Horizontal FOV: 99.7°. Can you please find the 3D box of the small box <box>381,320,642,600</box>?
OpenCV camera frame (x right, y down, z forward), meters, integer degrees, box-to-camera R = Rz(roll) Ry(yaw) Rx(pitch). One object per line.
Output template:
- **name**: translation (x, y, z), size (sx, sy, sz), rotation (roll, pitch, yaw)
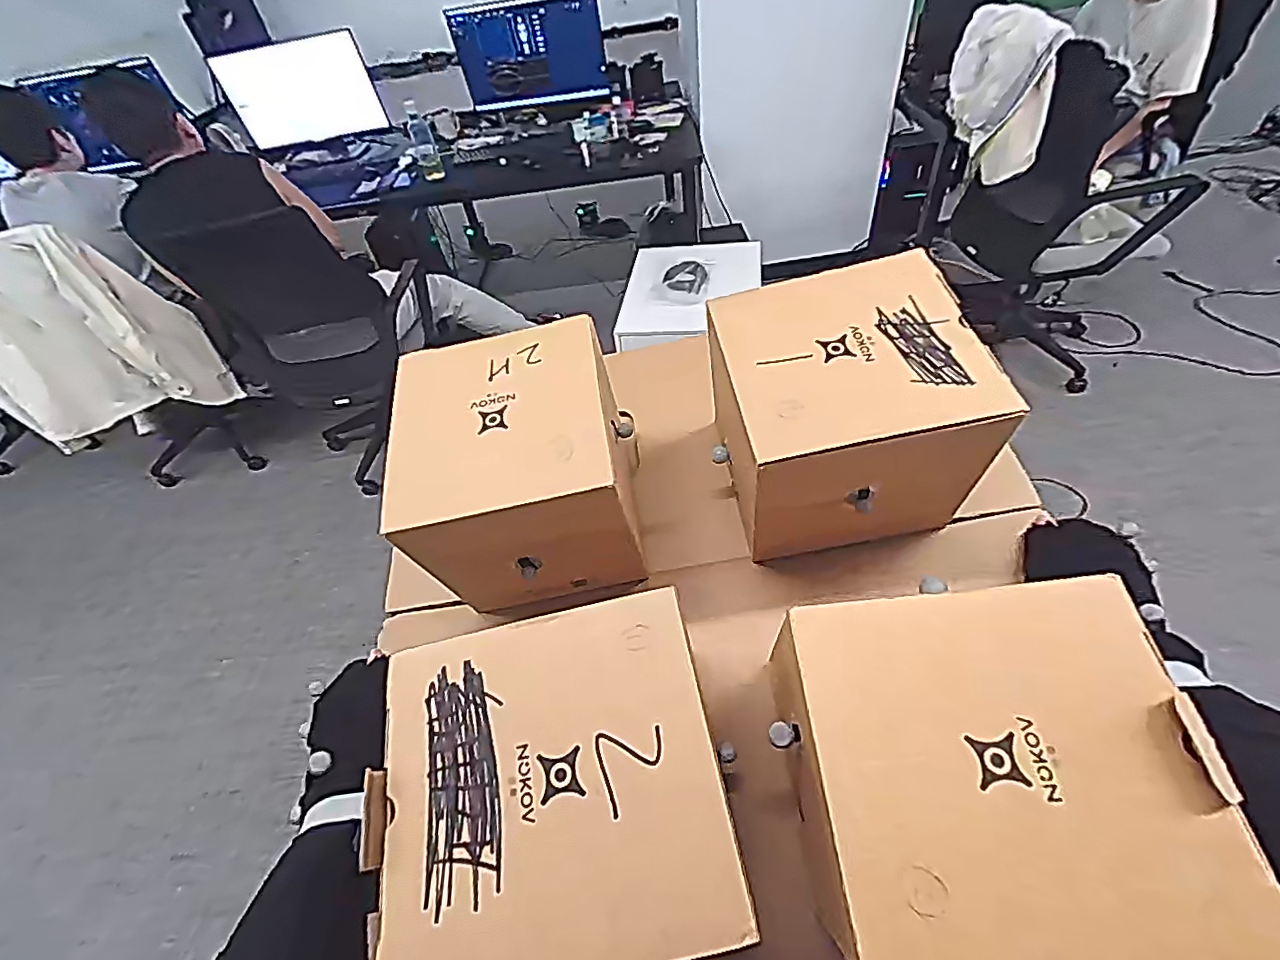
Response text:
- **small box**: translation (-0.098, -0.005, 0.478), size (0.168, 0.176, 0.179), rotation (-11, 57, 3)
